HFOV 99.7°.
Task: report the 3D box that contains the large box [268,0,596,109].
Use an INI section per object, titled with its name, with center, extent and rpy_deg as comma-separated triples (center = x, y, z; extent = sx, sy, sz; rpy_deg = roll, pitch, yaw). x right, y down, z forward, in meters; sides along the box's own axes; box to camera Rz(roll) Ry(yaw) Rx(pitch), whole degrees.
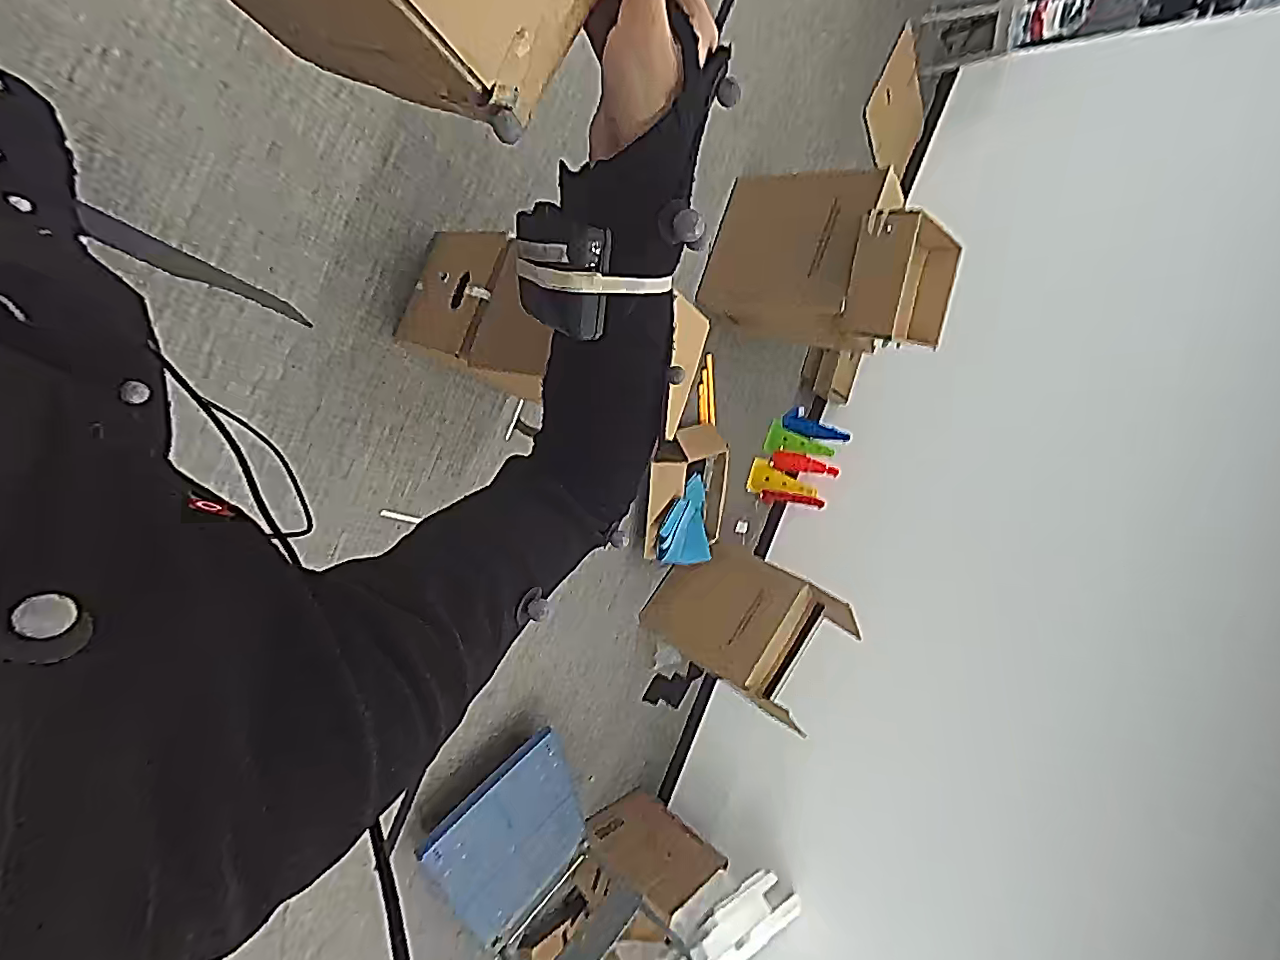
[large box]
center = -0.120, -0.446, 0.175
extent = 0.408, 0.320, 0.320
rpy_deg = -56, 147, 9
